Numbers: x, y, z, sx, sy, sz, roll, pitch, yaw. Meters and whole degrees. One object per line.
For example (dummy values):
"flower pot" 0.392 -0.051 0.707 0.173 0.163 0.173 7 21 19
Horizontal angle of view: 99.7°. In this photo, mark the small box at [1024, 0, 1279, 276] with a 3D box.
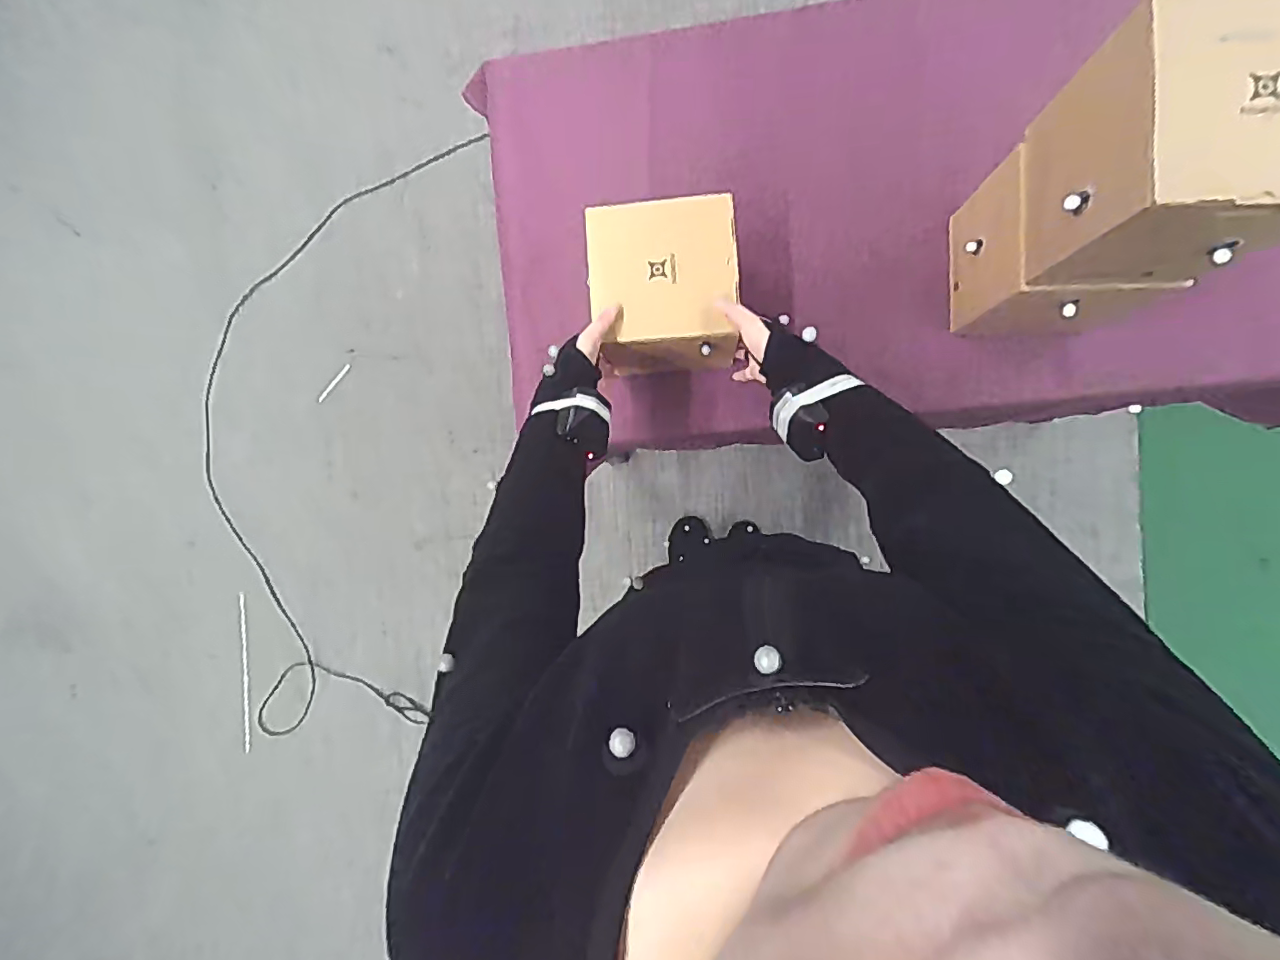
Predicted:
"small box" 0.487 -0.300 0.496 0.168 0.176 0.179 2 89 6

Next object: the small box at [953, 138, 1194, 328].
"small box" 0.505 -0.289 0.658 0.179 0.176 0.168 1 90 6

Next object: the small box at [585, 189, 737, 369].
"small box" 0.032 -0.250 0.713 0.179 0.176 0.168 -3 88 6
